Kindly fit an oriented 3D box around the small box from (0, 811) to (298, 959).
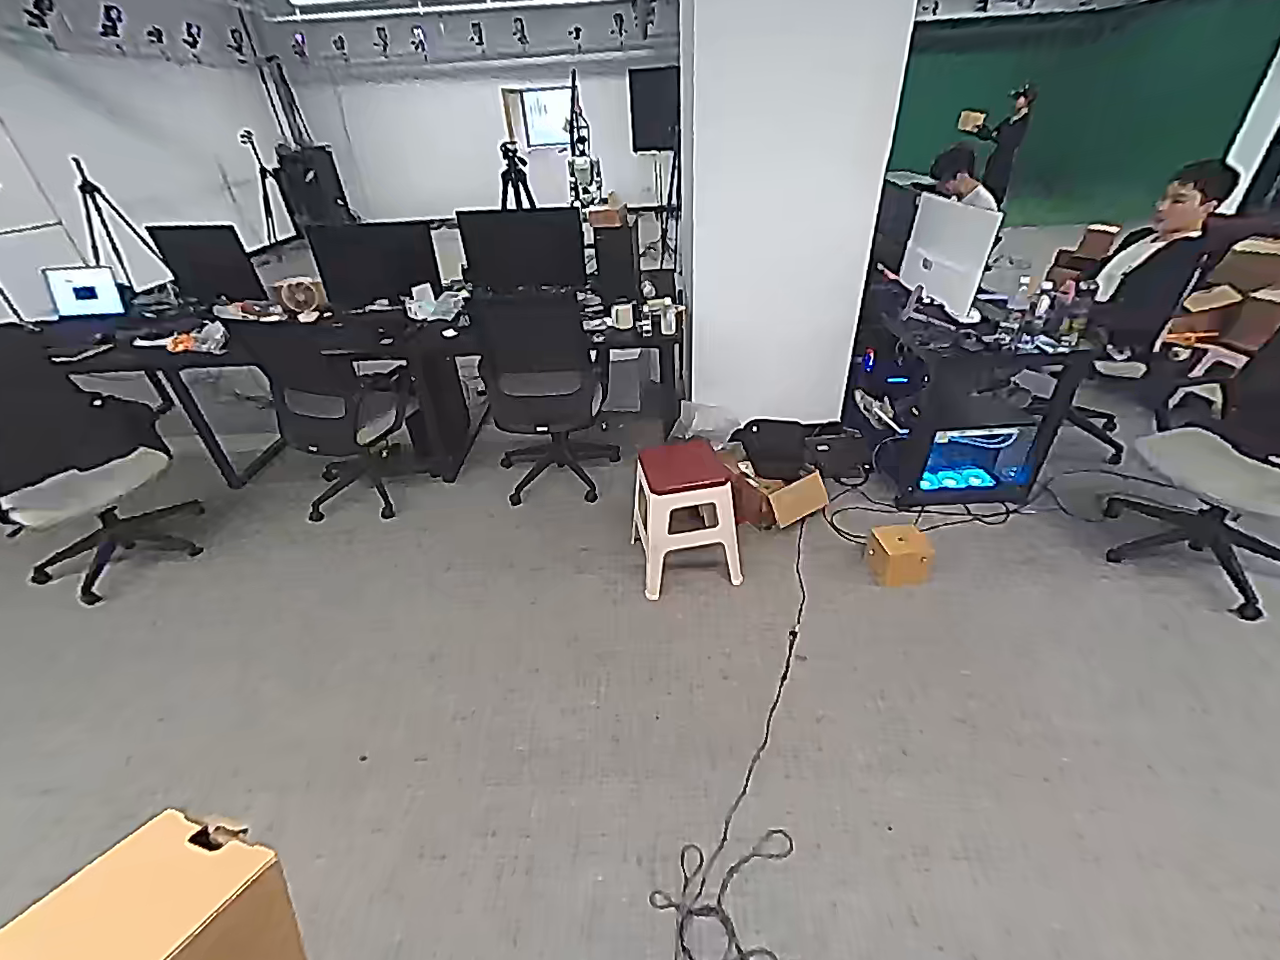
[{"bbox_3d":[-0.448,0.457,0.492,0.168,0.176,0.179,4,16,19],"label":"small box"}]
